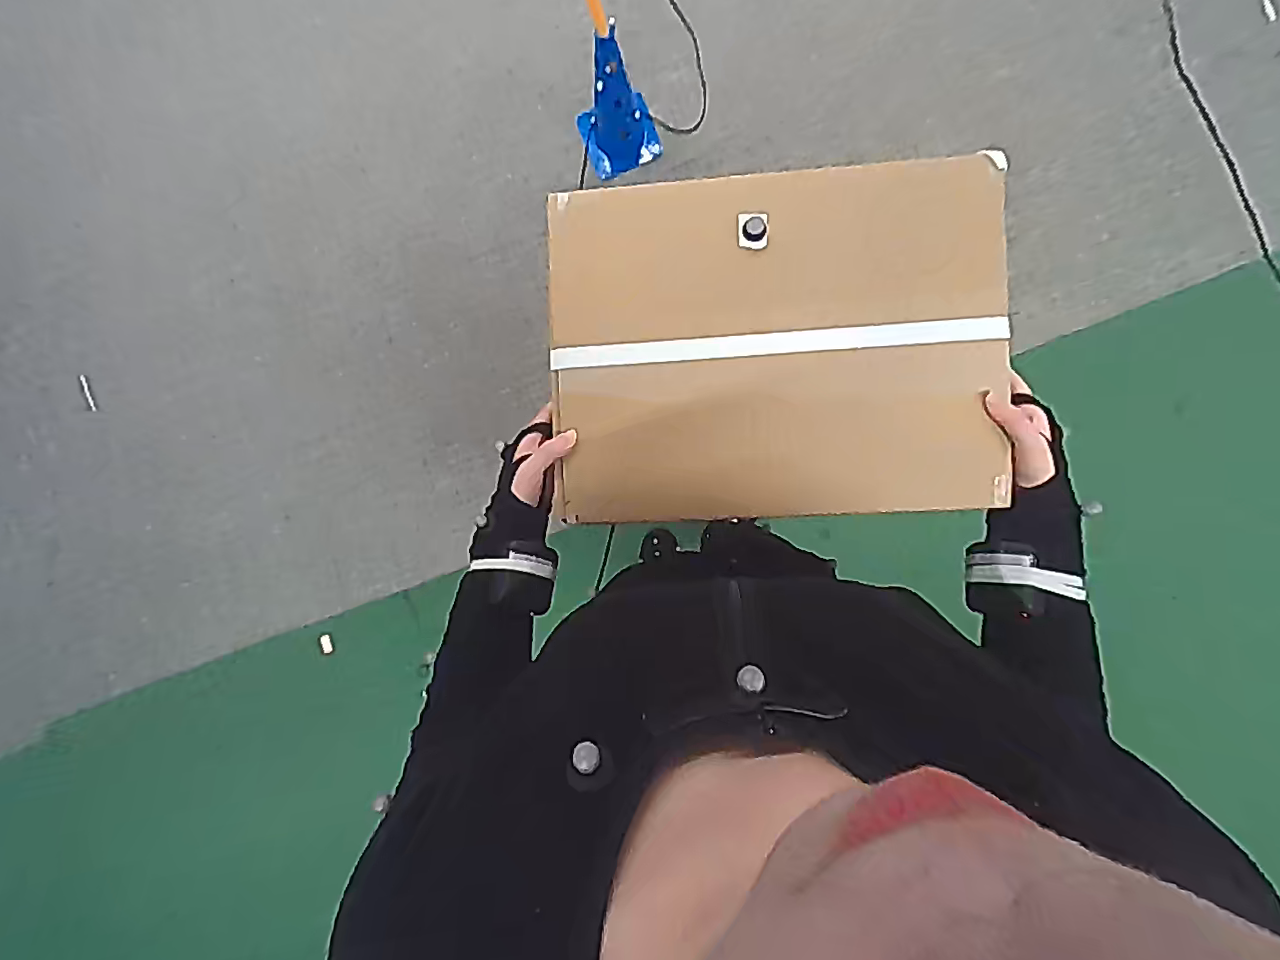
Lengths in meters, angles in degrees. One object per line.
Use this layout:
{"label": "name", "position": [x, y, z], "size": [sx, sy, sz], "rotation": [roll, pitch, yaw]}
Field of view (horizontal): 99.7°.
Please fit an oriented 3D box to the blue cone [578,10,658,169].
{"label": "blue cone", "position": [-0.072, -0.969, 1.327], "size": [0.193, 0.380, 0.192], "rotation": [-24, 89, 4]}
